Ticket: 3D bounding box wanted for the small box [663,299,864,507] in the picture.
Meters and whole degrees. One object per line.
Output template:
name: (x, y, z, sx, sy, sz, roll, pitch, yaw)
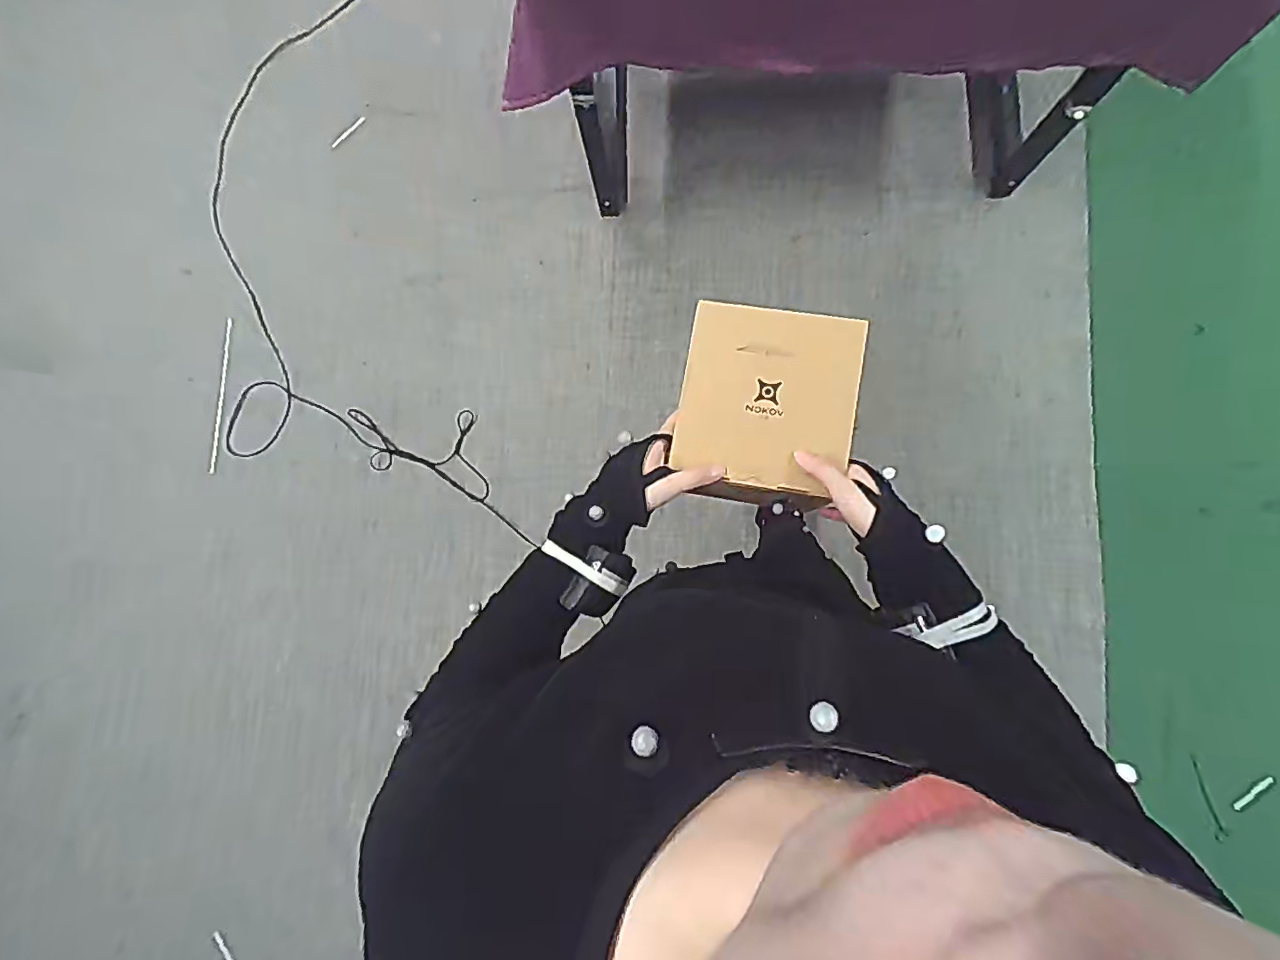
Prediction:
small box: (0.128, -0.071, 0.594, 0.168, 0.176, 0.179, 10, 83, 8)
